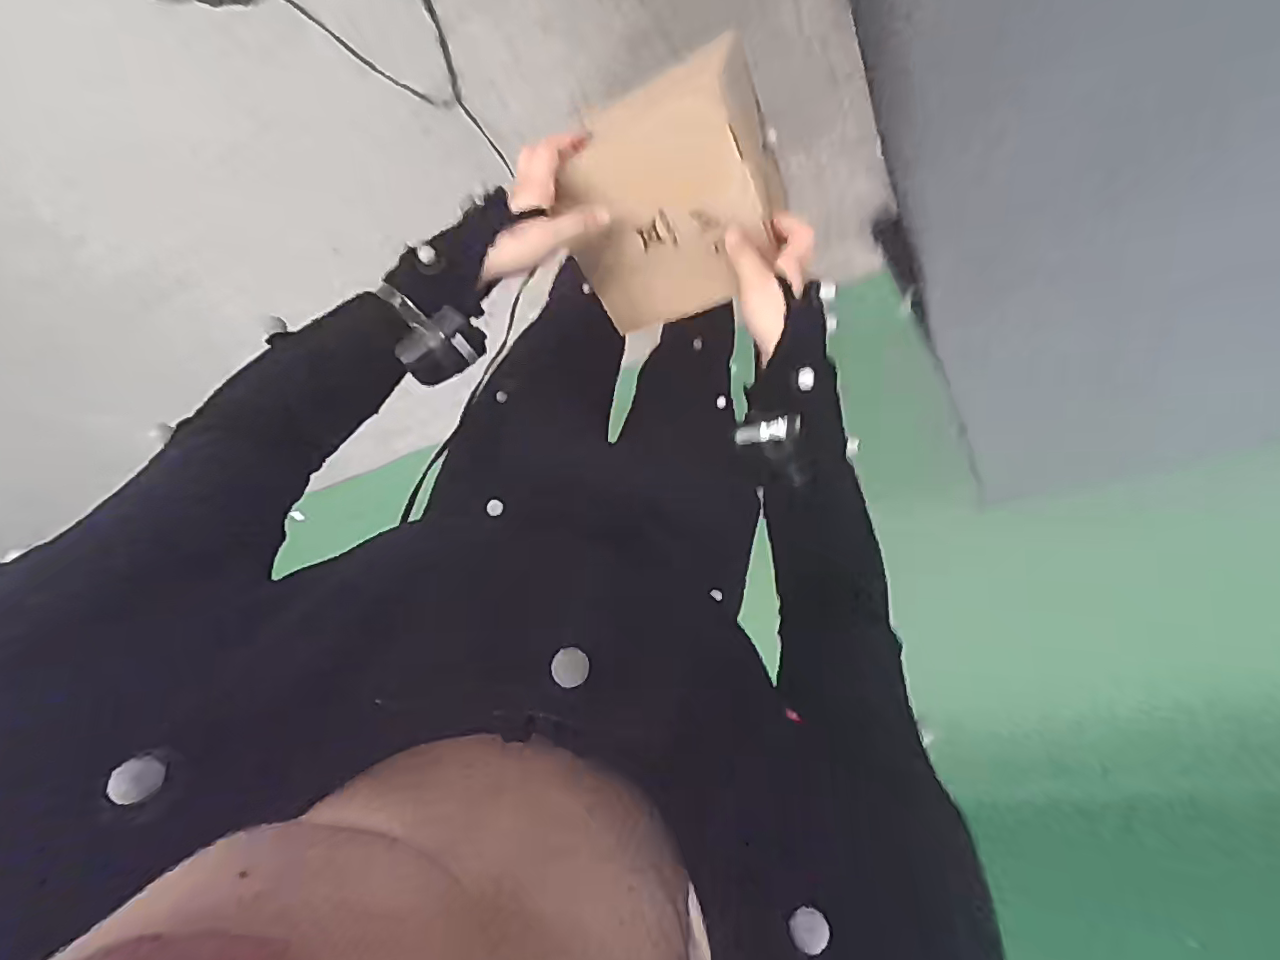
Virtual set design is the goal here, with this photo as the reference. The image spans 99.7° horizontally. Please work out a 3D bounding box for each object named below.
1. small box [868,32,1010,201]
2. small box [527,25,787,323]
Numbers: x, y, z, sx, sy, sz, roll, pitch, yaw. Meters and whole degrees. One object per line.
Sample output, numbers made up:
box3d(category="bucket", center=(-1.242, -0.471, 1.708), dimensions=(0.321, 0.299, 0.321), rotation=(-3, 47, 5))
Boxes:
box3d(category="small box", center=(0.485, -0.604, 0.894), dimensions=(0.168, 0.176, 0.179), rotation=(-12, 132, 21))
box3d(category="small box", center=(0.030, -0.285, 0.518), dimensions=(0.179, 0.176, 0.168), rotation=(-10, 135, 29))
